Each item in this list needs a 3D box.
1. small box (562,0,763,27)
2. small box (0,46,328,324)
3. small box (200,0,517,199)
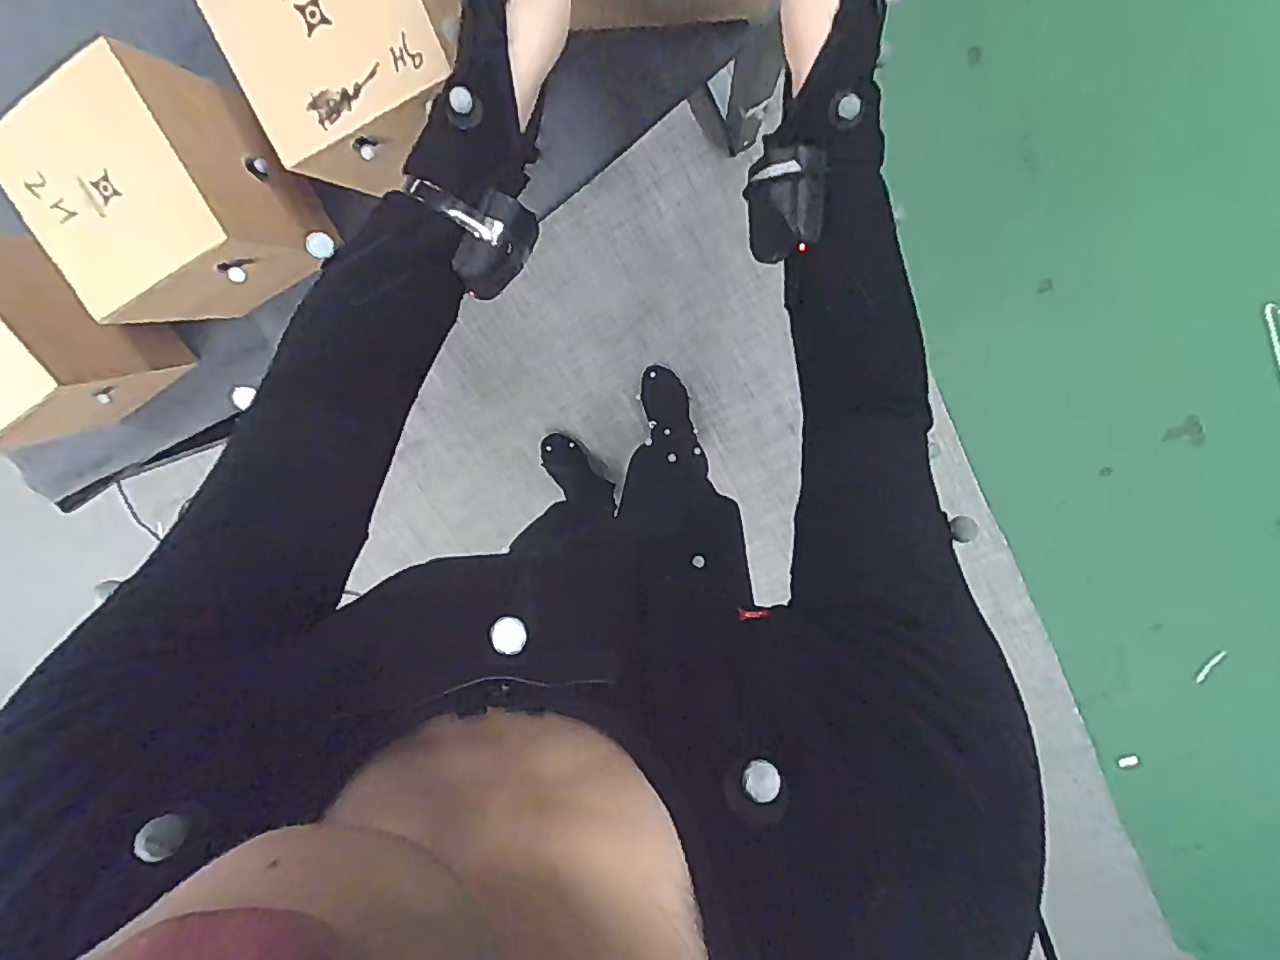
[{"bbox_3d":[0.020,-0.445,0.373,0.179,0.176,0.168,0,113,3],"label":"small box"},{"bbox_3d":[-0.456,-0.273,0.543,0.179,0.176,0.168,-20,105,15],"label":"small box"},{"bbox_3d":[-0.236,-0.380,0.478,0.168,0.176,0.179,-18,105,14],"label":"small box"}]
